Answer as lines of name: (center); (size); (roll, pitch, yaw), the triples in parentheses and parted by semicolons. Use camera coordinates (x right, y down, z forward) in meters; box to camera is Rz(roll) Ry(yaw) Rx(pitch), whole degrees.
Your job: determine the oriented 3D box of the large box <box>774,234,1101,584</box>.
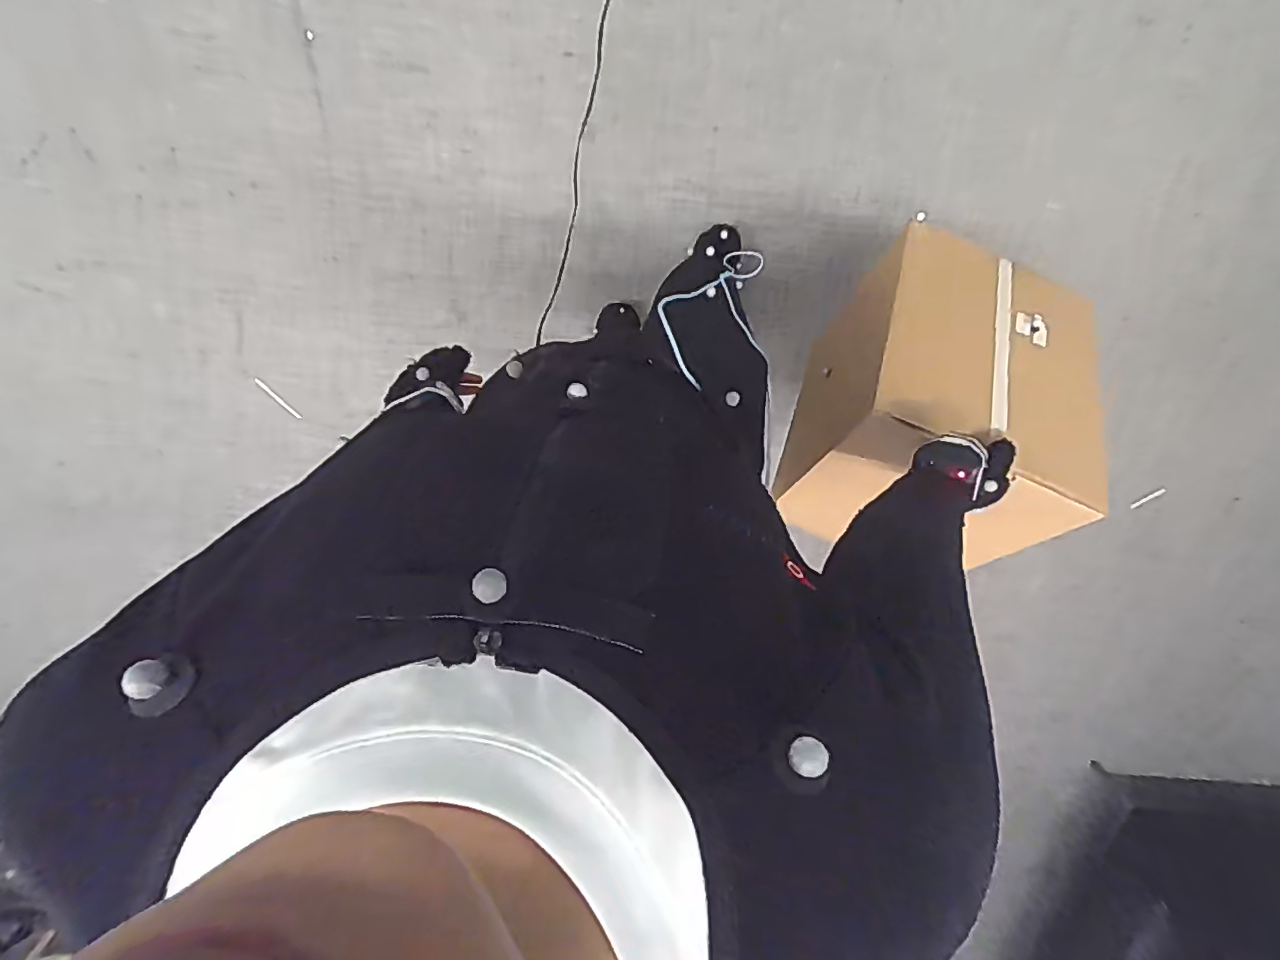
large box: (0.455, -0.102, 0.879); (0.320, 0.408, 0.320); (25, 150, -1)
